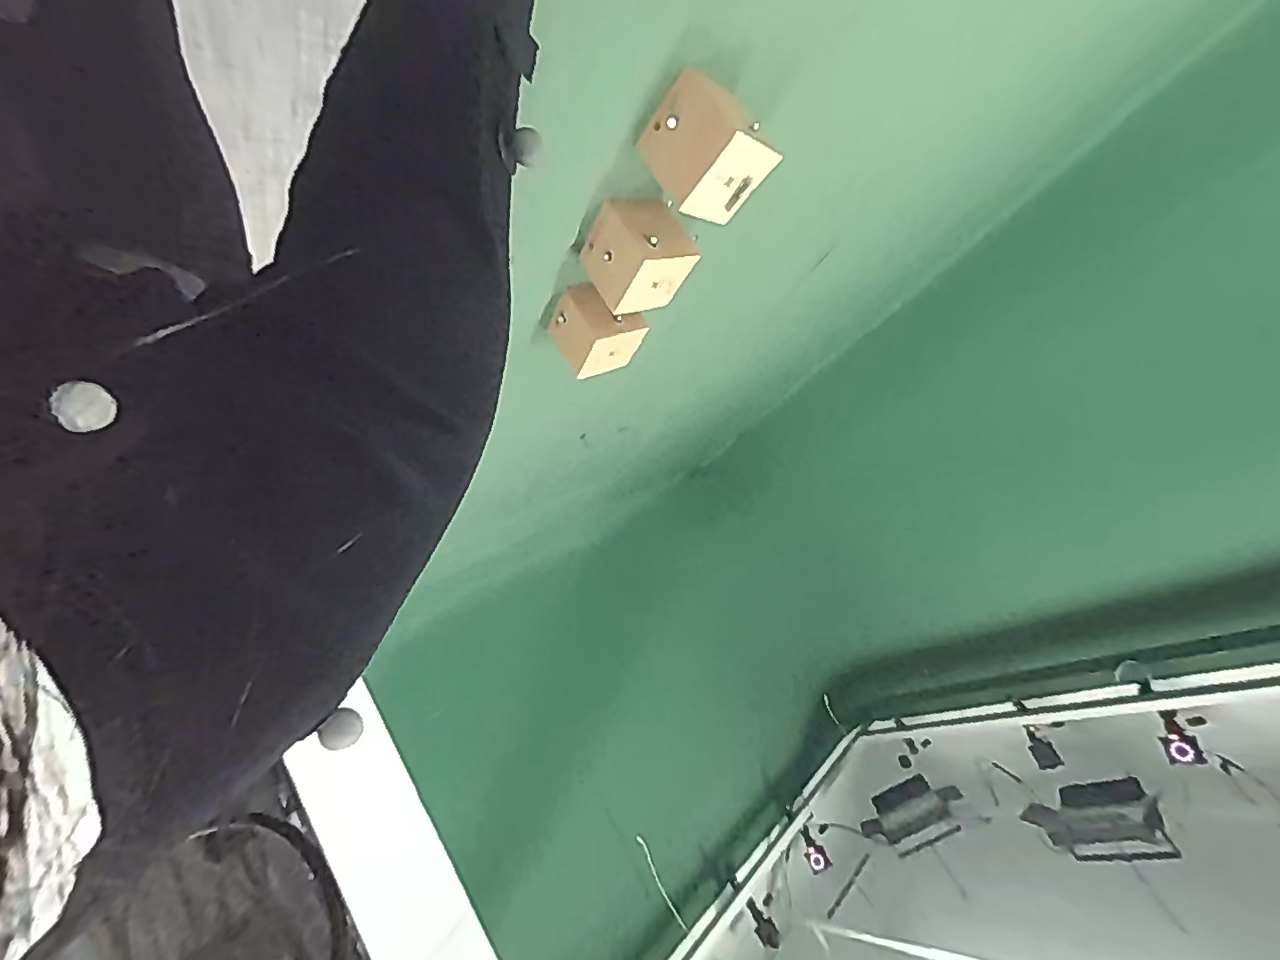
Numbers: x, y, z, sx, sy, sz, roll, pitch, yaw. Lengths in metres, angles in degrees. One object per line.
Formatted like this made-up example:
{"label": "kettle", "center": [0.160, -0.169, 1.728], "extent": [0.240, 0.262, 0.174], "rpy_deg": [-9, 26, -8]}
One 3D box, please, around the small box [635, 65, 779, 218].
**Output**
{"label": "small box", "center": [0.126, -0.639, 1.033], "extent": [0.179, 0.176, 0.168], "rpy_deg": [-19, 163, -49]}

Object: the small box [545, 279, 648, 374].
{"label": "small box", "center": [-0.117, -0.408, 1.411], "extent": [0.179, 0.176, 0.168], "rpy_deg": [-26, 168, -34]}

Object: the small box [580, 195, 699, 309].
{"label": "small box", "center": [-0.008, -0.516, 1.216], "extent": [0.179, 0.176, 0.168], "rpy_deg": [-25, 168, -38]}
